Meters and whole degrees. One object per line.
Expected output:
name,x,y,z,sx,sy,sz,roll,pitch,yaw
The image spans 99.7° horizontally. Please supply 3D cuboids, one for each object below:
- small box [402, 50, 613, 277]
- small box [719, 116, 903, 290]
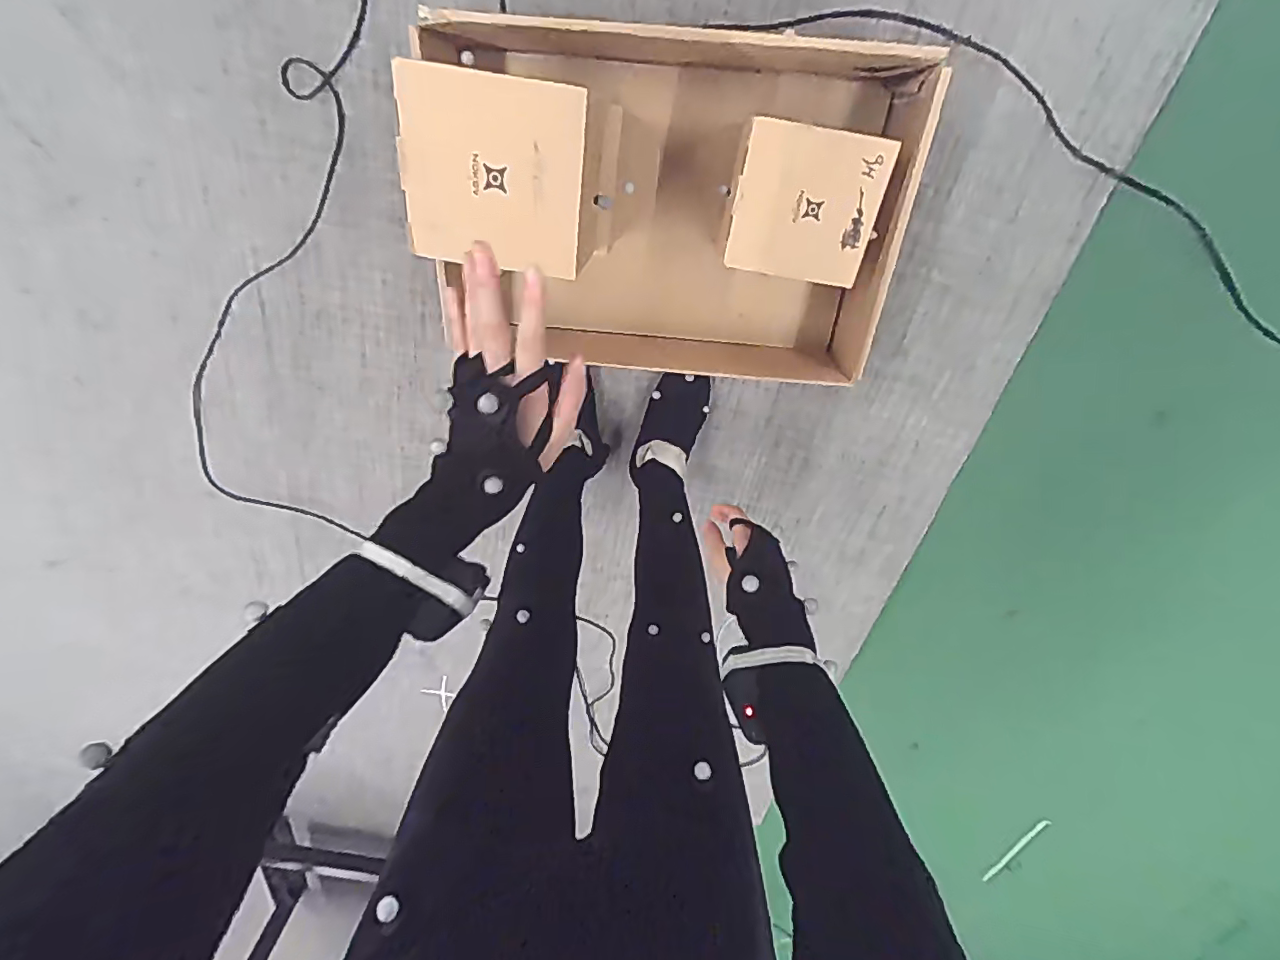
small box,-0.131,-0.332,0.581,0.179,0.176,0.168,9,122,-3
small box,0.209,-0.369,0.726,0.179,0.176,0.168,11,121,-2
